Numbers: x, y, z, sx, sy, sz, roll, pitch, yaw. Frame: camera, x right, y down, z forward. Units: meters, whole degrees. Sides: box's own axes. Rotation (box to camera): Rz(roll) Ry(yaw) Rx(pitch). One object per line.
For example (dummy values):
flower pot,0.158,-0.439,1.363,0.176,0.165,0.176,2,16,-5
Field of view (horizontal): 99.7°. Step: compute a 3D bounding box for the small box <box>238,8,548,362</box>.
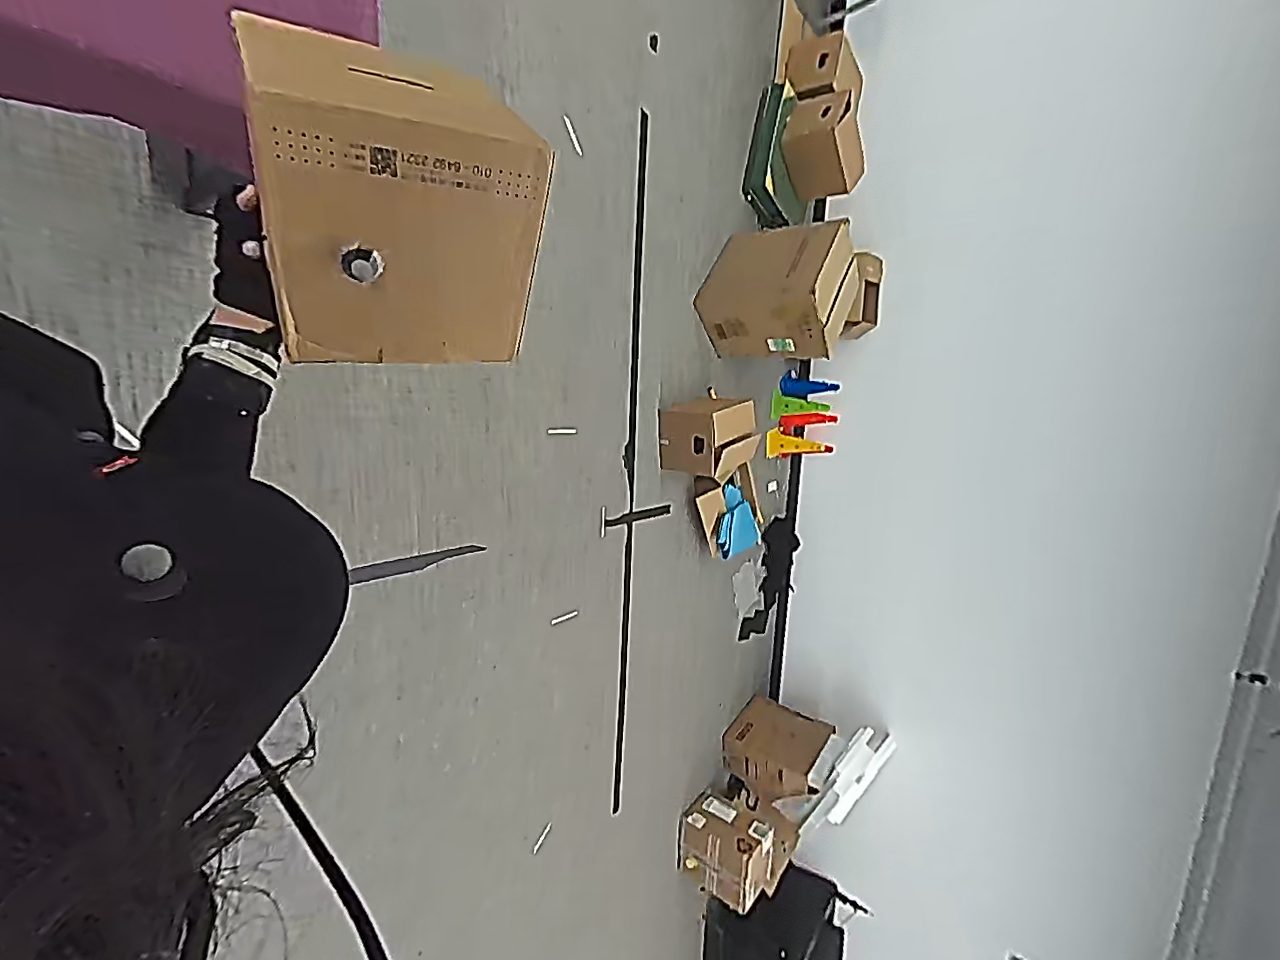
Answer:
small box,-0.181,-0.207,0.398,0.168,0.179,0.176,-8,140,-34
